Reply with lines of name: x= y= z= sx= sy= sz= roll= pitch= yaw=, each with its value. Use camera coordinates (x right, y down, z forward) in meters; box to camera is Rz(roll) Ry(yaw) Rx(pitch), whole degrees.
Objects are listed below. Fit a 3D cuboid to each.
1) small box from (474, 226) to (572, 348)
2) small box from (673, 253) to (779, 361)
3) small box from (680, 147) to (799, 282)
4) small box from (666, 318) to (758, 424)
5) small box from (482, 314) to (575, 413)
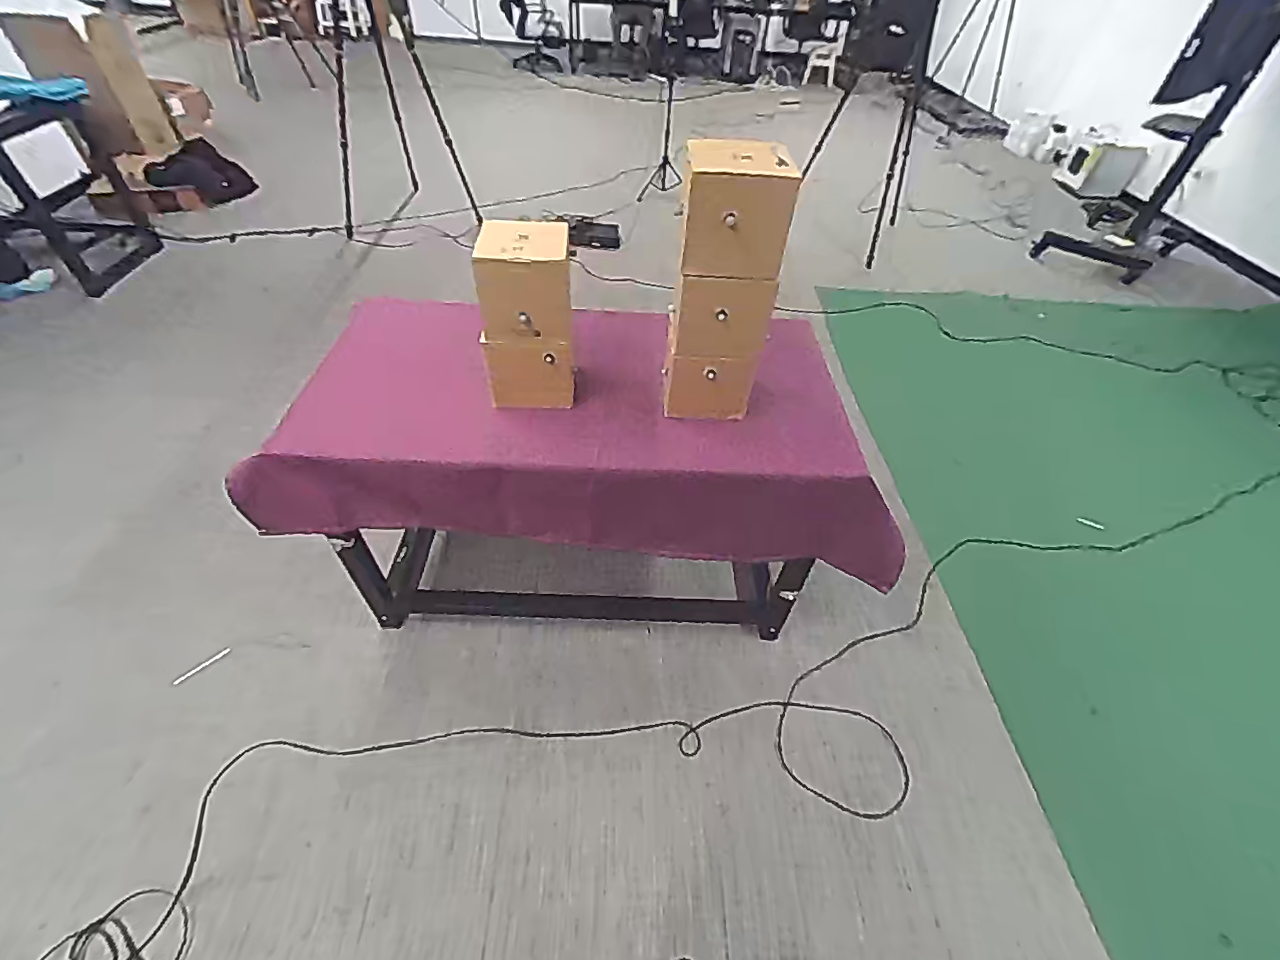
small box: x=-0.222 y=-0.383 z=1.073 sx=0.168 sy=0.176 sz=0.179 roll=0 pitch=46 yaw=-4
small box: x=0.160 y=-0.349 z=1.066 sx=0.179 sy=0.176 sz=0.168 roll=2 pitch=47 yaw=-1
small box: x=0.161 y=-0.462 z=0.946 sx=0.179 sy=0.176 sz=0.168 roll=2 pitch=47 yaw=-1
small box: x=0.148 y=-0.238 z=1.186 sx=0.179 sy=0.176 sz=0.168 roll=3 pitch=47 yaw=-2
small box: x=-0.235 y=-0.261 z=1.184 sx=0.179 sy=0.176 sz=0.168 roll=0 pitch=46 yaw=-5
